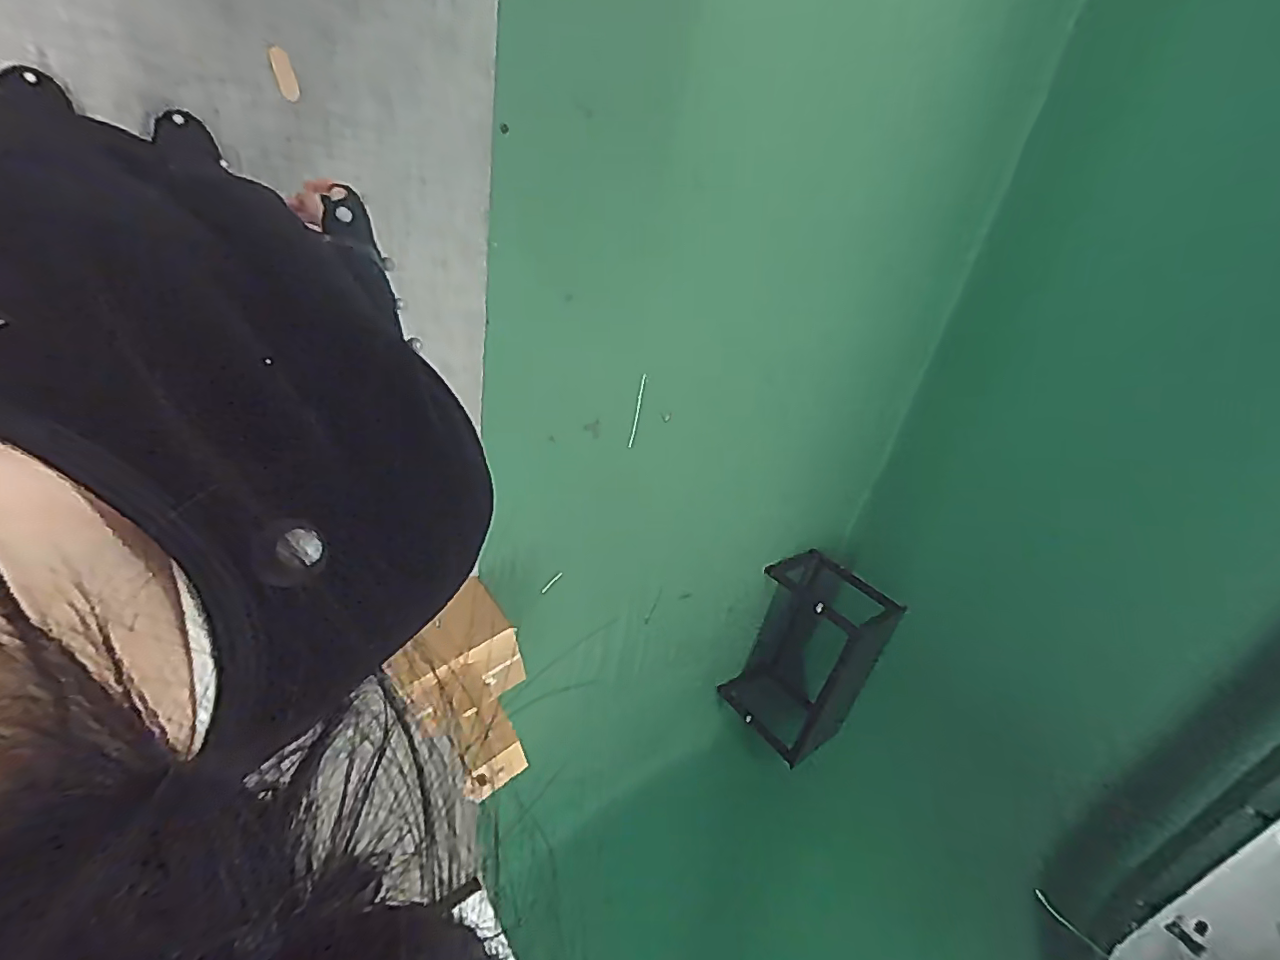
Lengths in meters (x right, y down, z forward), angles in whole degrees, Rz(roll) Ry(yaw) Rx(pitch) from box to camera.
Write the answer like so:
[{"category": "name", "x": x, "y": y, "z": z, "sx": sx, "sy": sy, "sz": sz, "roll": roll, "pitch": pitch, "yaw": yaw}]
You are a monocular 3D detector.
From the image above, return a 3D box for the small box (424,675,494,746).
[{"category": "small box", "x": -0.568, "y": 0.755, "z": 1.728, "sx": 0.168, "sy": 0.176, "sz": 0.179, "roll": -25, "pitch": 132, "yaw": -30}]

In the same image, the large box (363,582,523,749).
[{"category": "large box", "x": -0.687, "y": 0.638, "z": 1.912, "sx": 0.408, "sy": 0.320, "sz": 0.320, "roll": -27, "pitch": 135, "yaw": -30}]

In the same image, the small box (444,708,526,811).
[{"category": "small box", "x": -0.468, "y": 0.833, "z": 1.623, "sx": 0.179, "sy": 0.176, "sz": 0.168, "roll": -27, "pitch": 133, "yaw": -29}]
